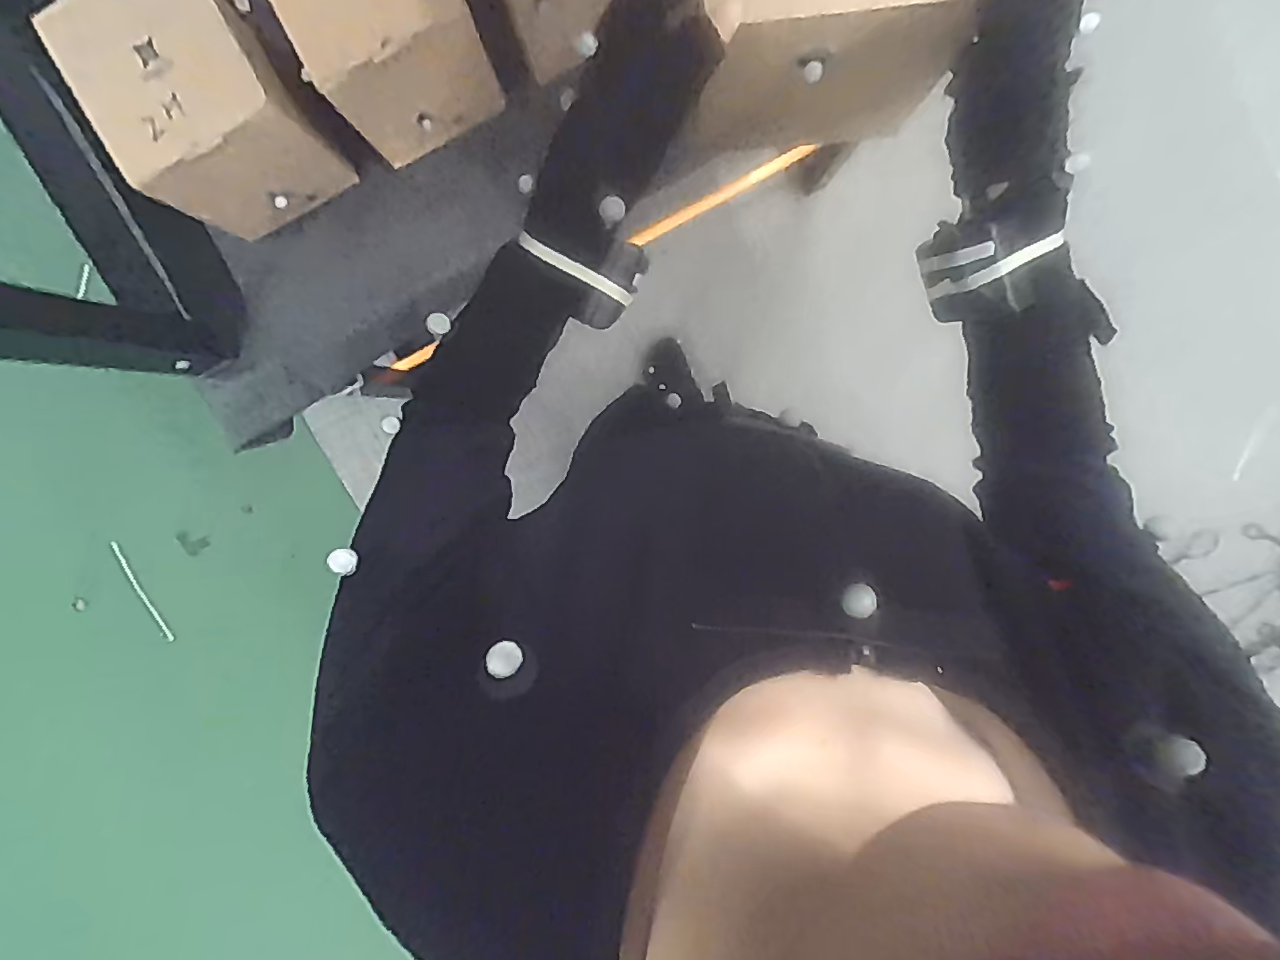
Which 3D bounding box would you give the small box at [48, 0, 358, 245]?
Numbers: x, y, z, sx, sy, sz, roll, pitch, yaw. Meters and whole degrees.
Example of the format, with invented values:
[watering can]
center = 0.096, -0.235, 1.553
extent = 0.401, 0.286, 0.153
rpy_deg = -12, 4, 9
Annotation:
[small box]
center = -0.462, -0.401, 0.605
extent = 0.168, 0.176, 0.179
rpy_deg = -27, 95, 2
